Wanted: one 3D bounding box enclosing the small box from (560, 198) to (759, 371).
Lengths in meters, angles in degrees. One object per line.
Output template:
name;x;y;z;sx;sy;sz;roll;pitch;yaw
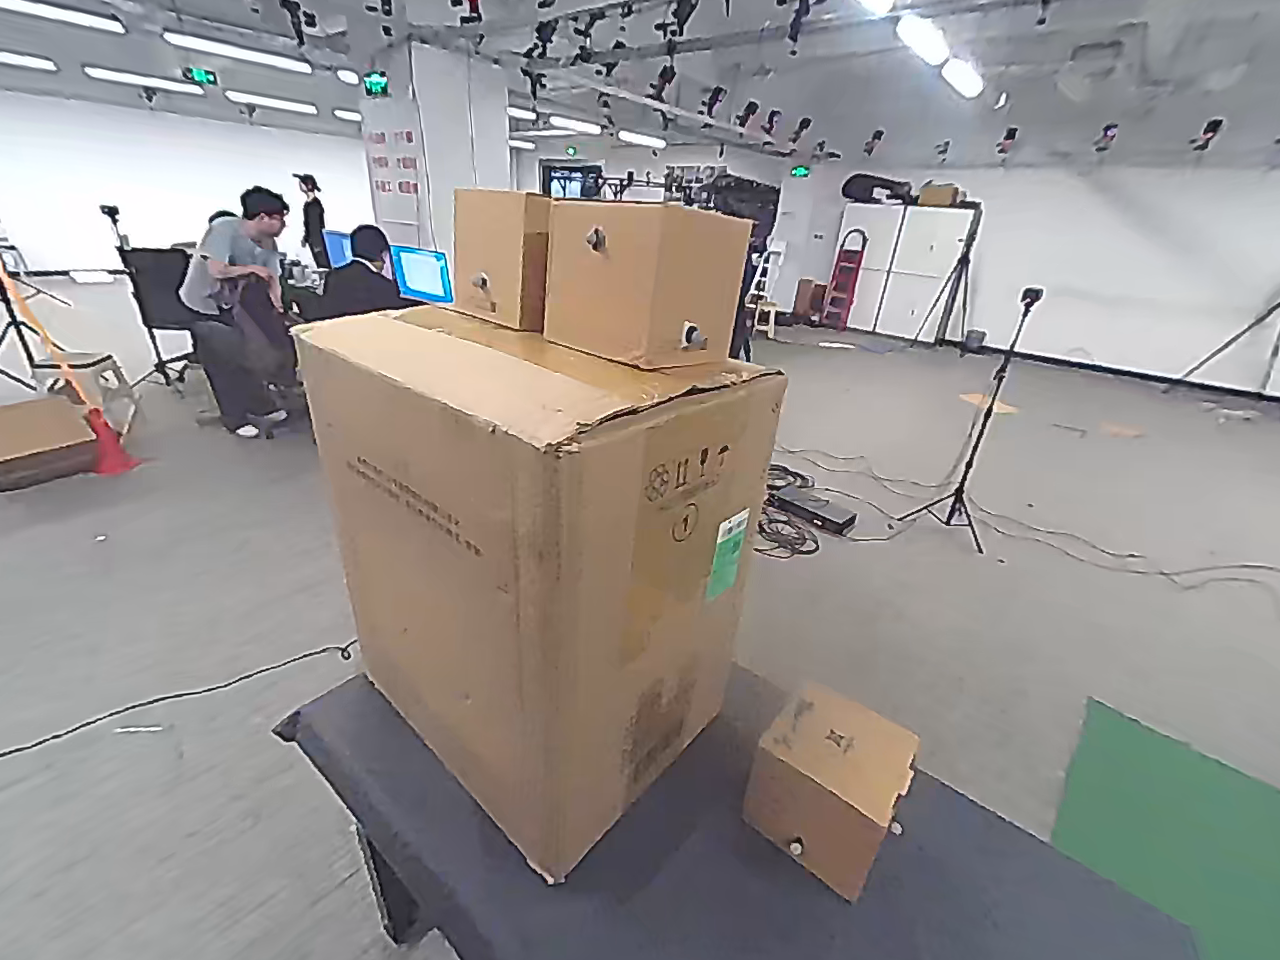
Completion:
small box;0.016;-0.238;0.666;0.179;0.176;0.168;26;30;34

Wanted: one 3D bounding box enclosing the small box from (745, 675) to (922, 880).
small box;0.277;0.434;0.792;0.179;0.176;0.168;24;33;33
